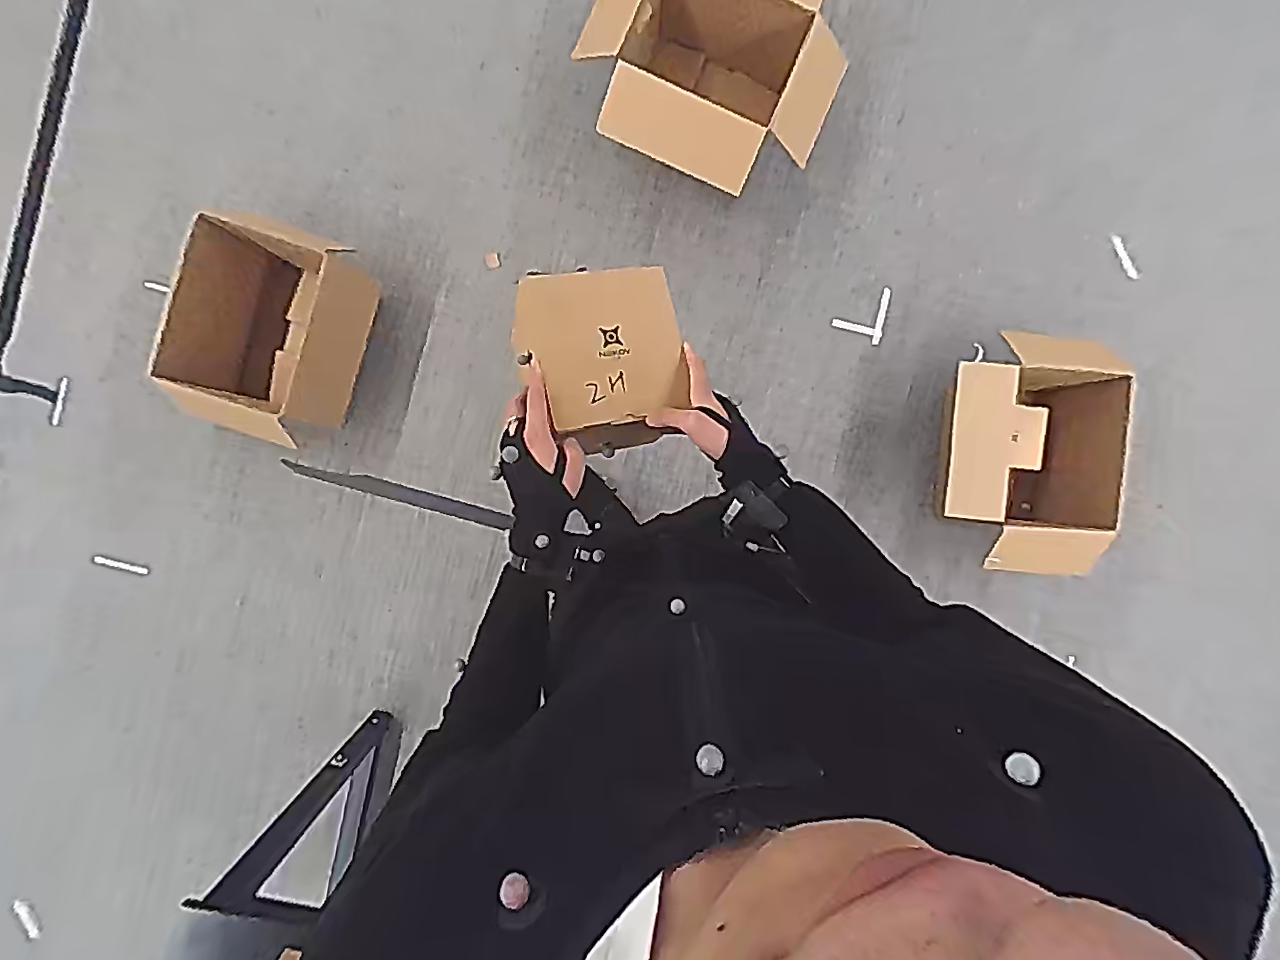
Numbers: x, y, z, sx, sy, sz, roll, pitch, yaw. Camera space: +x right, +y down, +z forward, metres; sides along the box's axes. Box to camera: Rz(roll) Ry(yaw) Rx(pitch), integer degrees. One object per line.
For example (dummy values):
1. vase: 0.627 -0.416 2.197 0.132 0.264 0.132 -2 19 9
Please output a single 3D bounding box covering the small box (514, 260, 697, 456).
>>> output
1. small box: -0.053 -0.139 0.655 0.168 0.176 0.179 -12 85 -17
